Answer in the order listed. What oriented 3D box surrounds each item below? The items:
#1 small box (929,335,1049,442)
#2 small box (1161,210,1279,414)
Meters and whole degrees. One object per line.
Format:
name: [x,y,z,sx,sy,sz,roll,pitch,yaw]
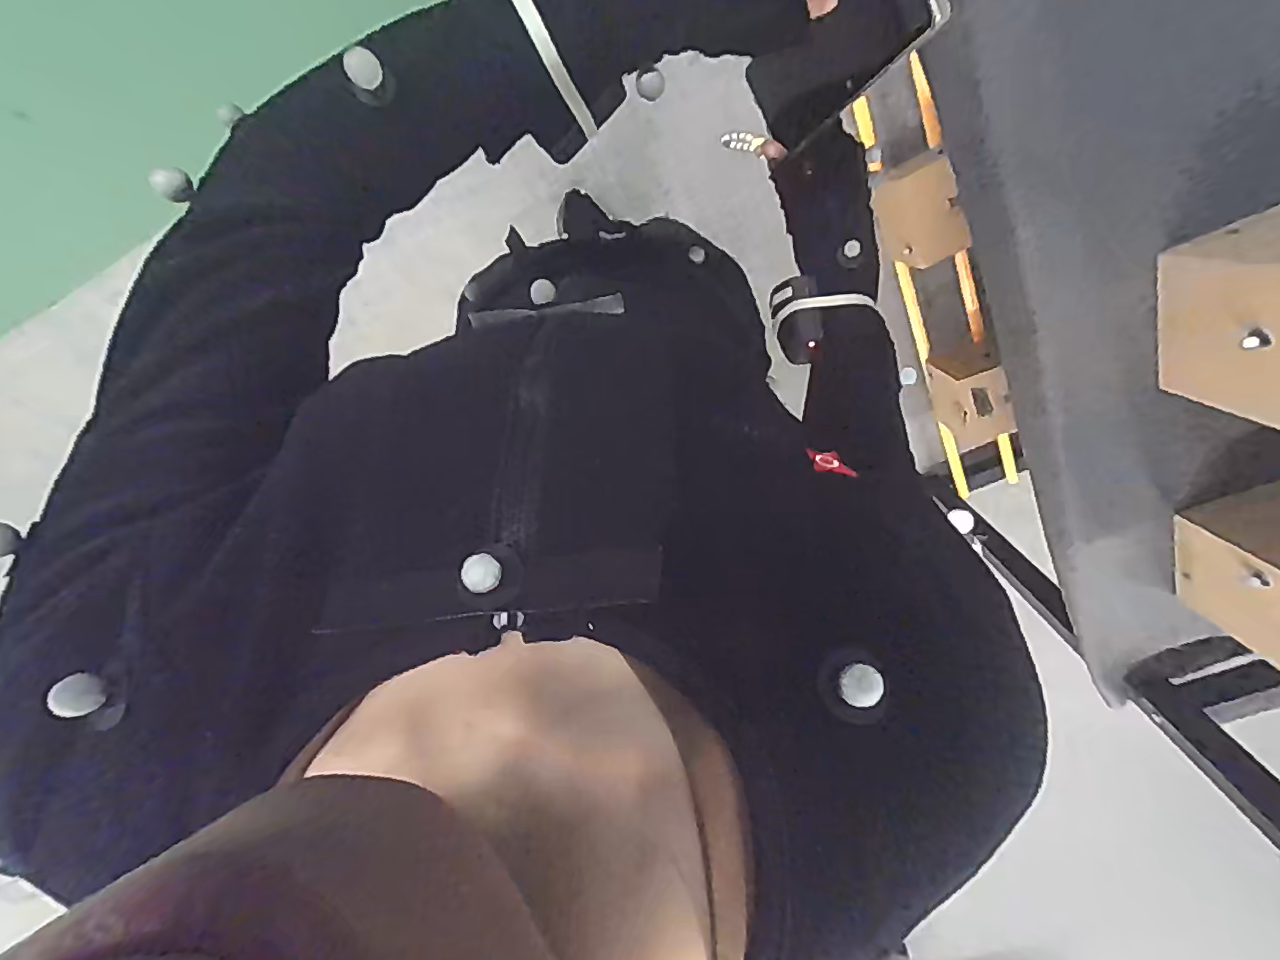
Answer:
small box: [0.793,-0.215,1.245,0.179,0.176,0.168,-21,115,11]
small box: [0.701,-0.184,0.564,0.168,0.176,0.179,-21,114,11]
